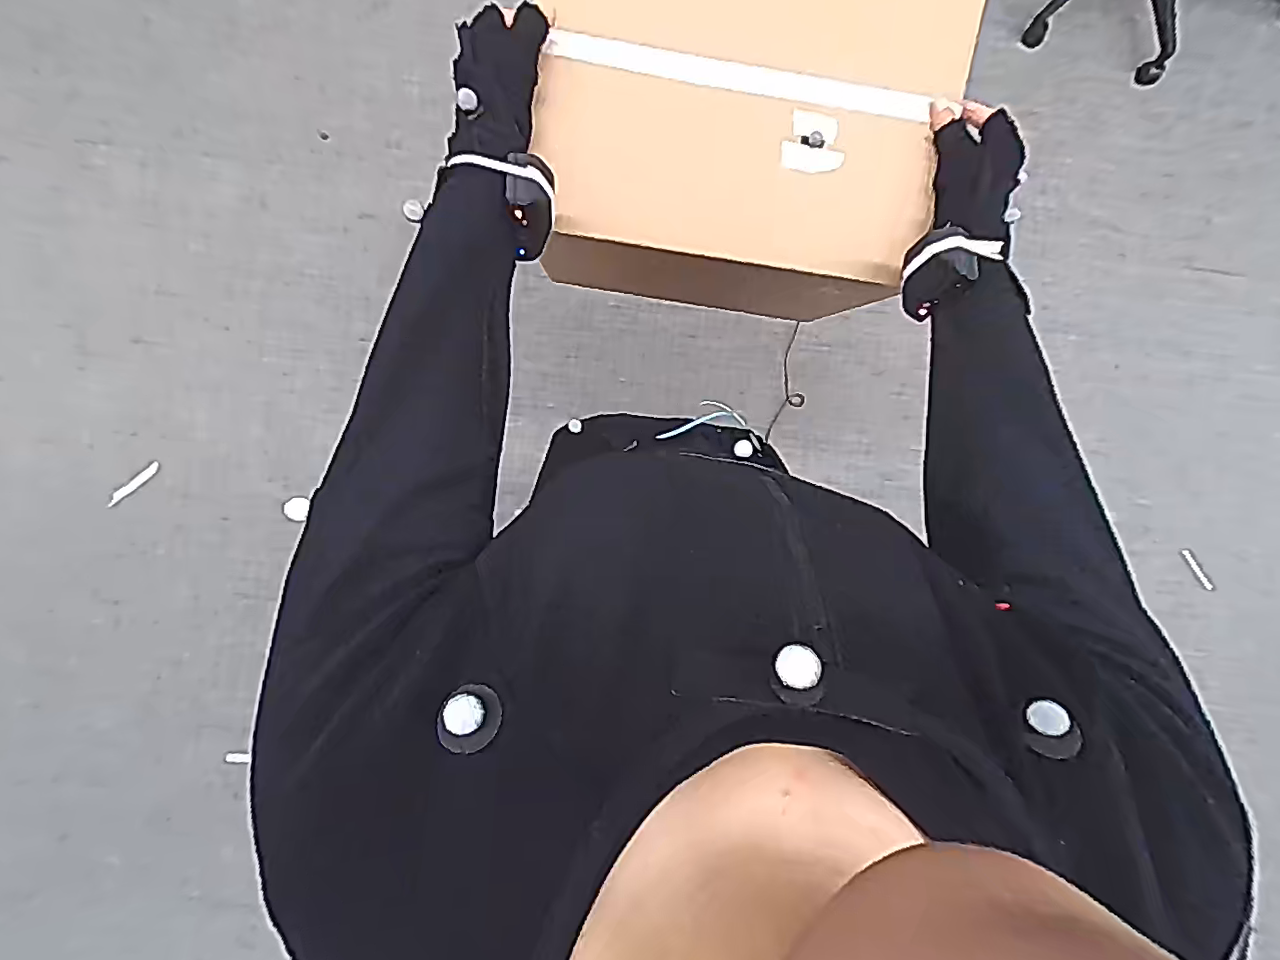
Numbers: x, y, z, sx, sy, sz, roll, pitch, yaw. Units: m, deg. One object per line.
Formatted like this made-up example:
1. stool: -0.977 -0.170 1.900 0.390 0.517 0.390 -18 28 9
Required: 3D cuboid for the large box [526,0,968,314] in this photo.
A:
1. large box: 0.090 -0.401 0.658 0.408 0.320 0.320 7 101 -5
